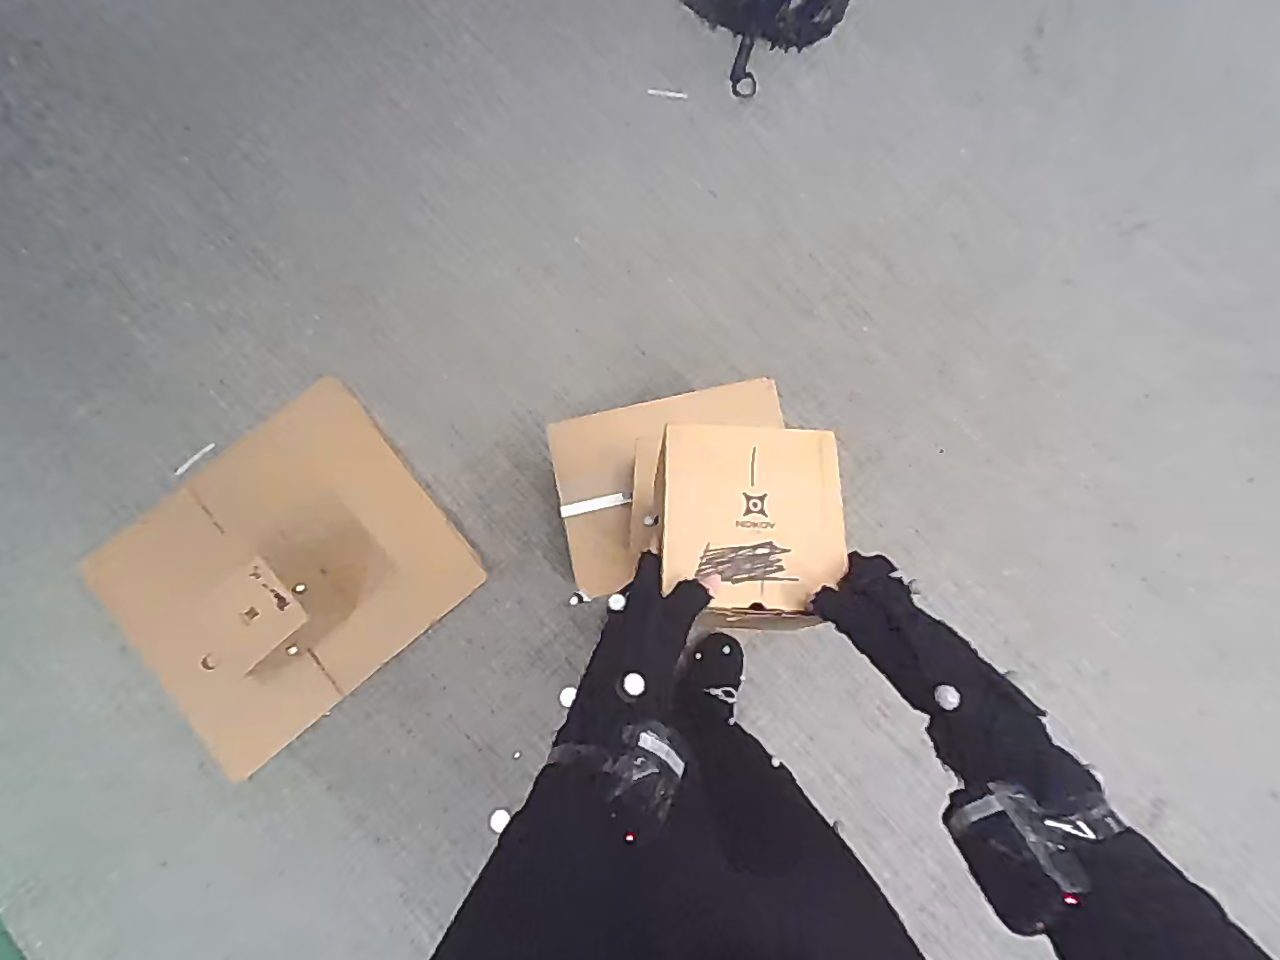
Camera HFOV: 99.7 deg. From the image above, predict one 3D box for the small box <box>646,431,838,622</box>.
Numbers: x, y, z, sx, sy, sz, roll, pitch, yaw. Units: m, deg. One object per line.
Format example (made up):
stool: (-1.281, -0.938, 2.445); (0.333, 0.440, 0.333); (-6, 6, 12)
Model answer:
small box: (0.093, 0.059, 0.576); (0.168, 0.176, 0.179); (-1, 72, -2)

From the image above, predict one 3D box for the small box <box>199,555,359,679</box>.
small box: (-0.730, 0.273, 1.114); (0.168, 0.176, 0.179); (44, 87, 7)

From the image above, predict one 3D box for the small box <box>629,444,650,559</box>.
small box: (0.075, 0.042, 0.843); (0.179, 0.176, 0.168); (2, 83, 1)
